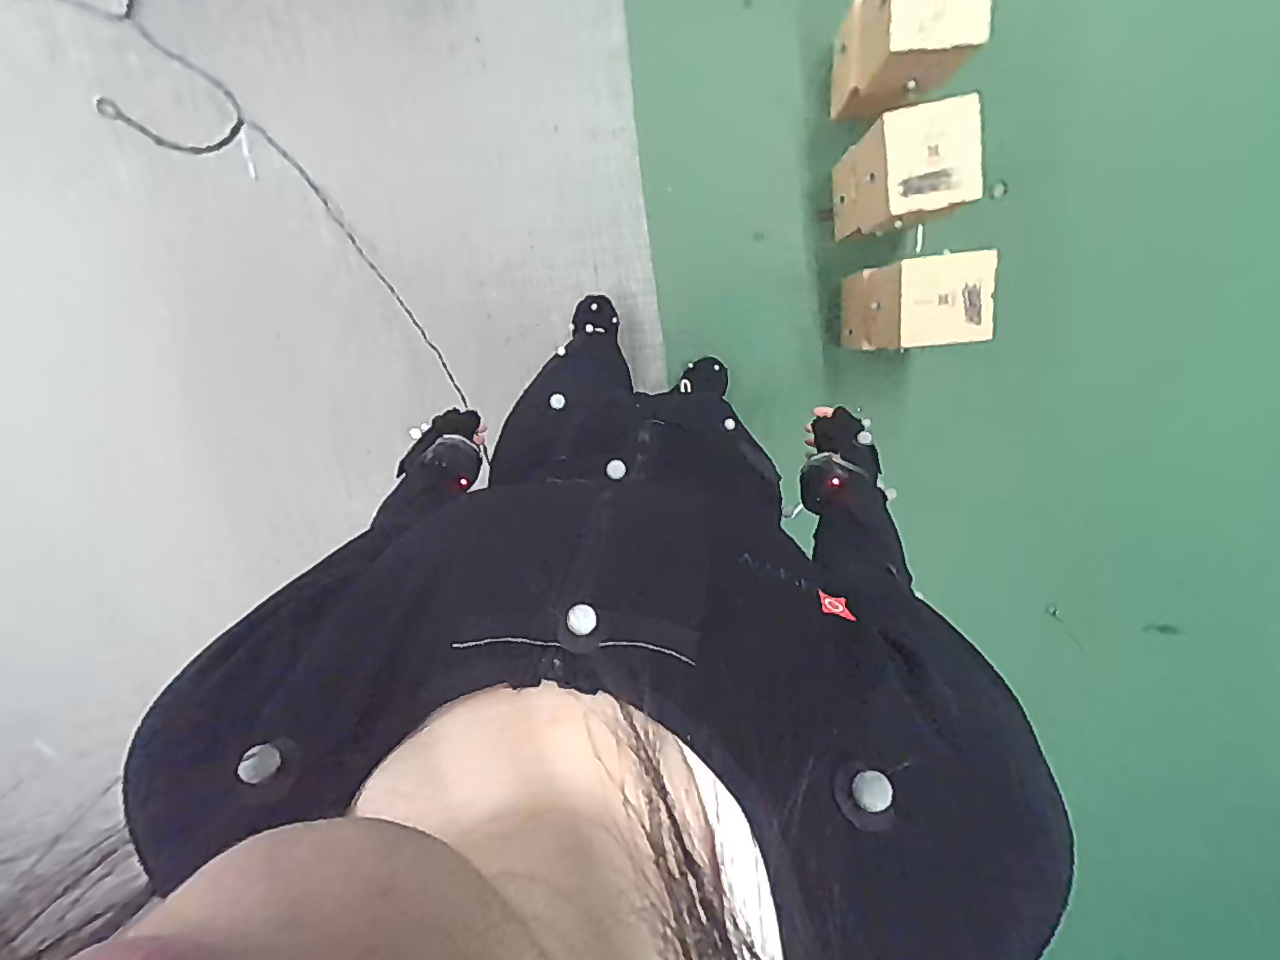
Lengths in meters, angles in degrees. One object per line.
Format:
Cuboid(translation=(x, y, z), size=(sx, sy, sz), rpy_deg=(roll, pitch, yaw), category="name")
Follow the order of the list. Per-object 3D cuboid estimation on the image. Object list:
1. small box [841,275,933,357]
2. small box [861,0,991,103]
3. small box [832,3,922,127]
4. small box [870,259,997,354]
Cuboid(translation=(0.582, -0.385, 1.275), size=(0.168, 0.176, 0.179), rpy_deg=(-2, 103, 4), category="small box")
Cuboid(translation=(0.525, -0.844, 1.008), size=(0.168, 0.176, 0.179), rpy_deg=(-1, 102, 4), category="small box")
Cuboid(translation=(0.526, -0.888, 1.168), size=(0.179, 0.176, 0.168), rpy_deg=(0, 102, 4), category="small box")
Cuboid(translation=(0.594, -0.351, 1.115), size=(0.179, 0.176, 0.168), rpy_deg=(-4, 103, 5), category="small box")
